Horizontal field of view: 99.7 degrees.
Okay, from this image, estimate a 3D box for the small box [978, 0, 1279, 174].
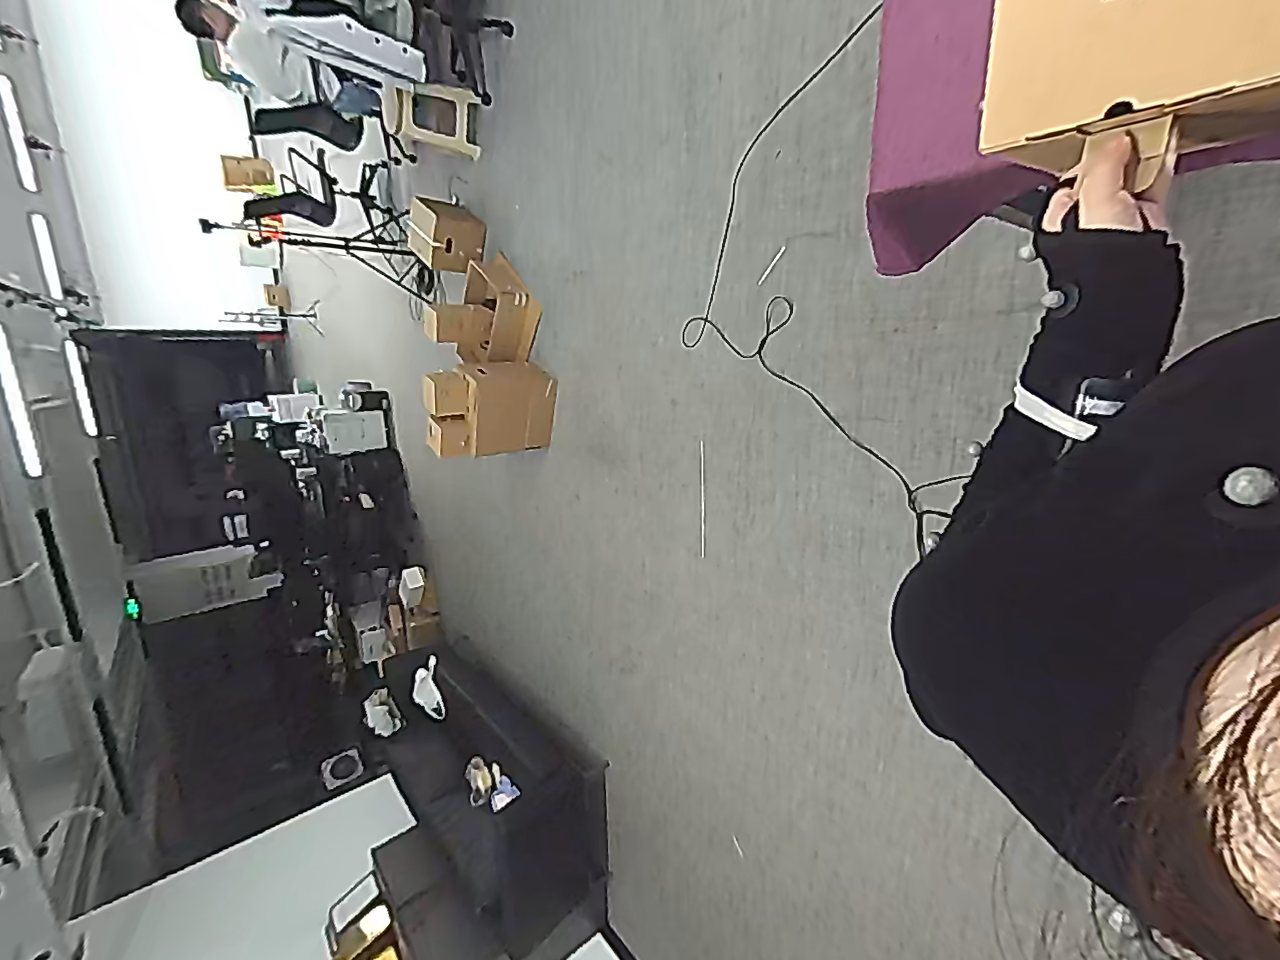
[{"bbox_3d":[0.375,-0.339,0.386,0.168,0.176,0.179,18,118,50],"label":"small box"}]
